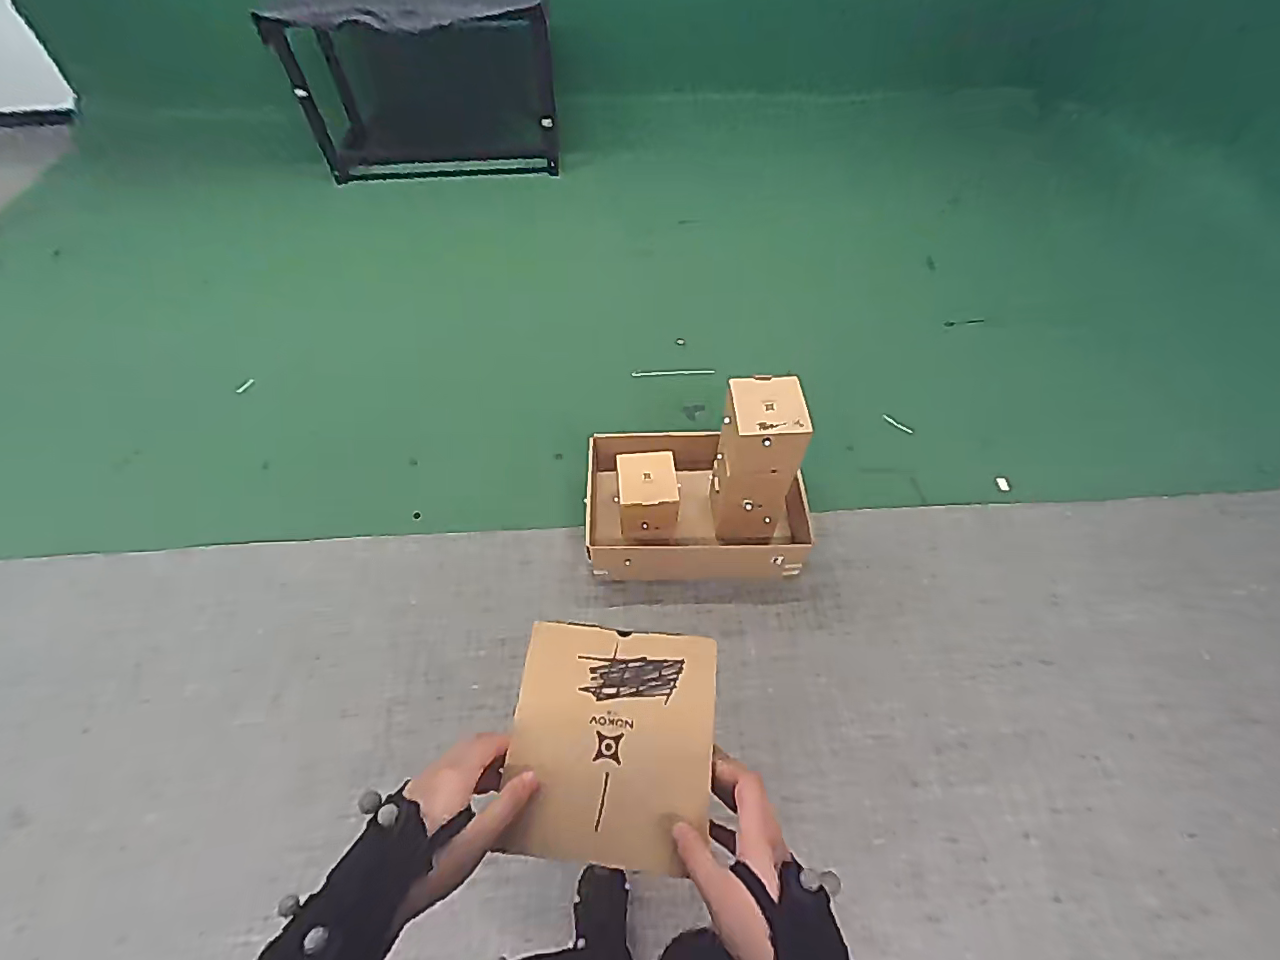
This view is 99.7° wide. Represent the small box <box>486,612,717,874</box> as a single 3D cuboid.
[{"bbox_3d":[-0.022,0.239,0.503,0.168,0.176,0.179,4,61,6],"label":"small box"}]

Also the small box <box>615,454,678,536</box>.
[{"bbox_3d":[0.013,0.045,1.582,0.168,0.176,0.179,-4,56,-4],"label":"small box"}]

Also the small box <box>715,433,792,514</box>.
[{"bbox_3d":[0.294,-0.028,1.433,0.168,0.176,0.179,0,57,1],"label":"small box"}]

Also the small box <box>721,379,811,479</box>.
[{"bbox_3d":[0.292,-0.120,1.297,0.168,0.176,0.179,-3,55,0],"label":"small box"}]
